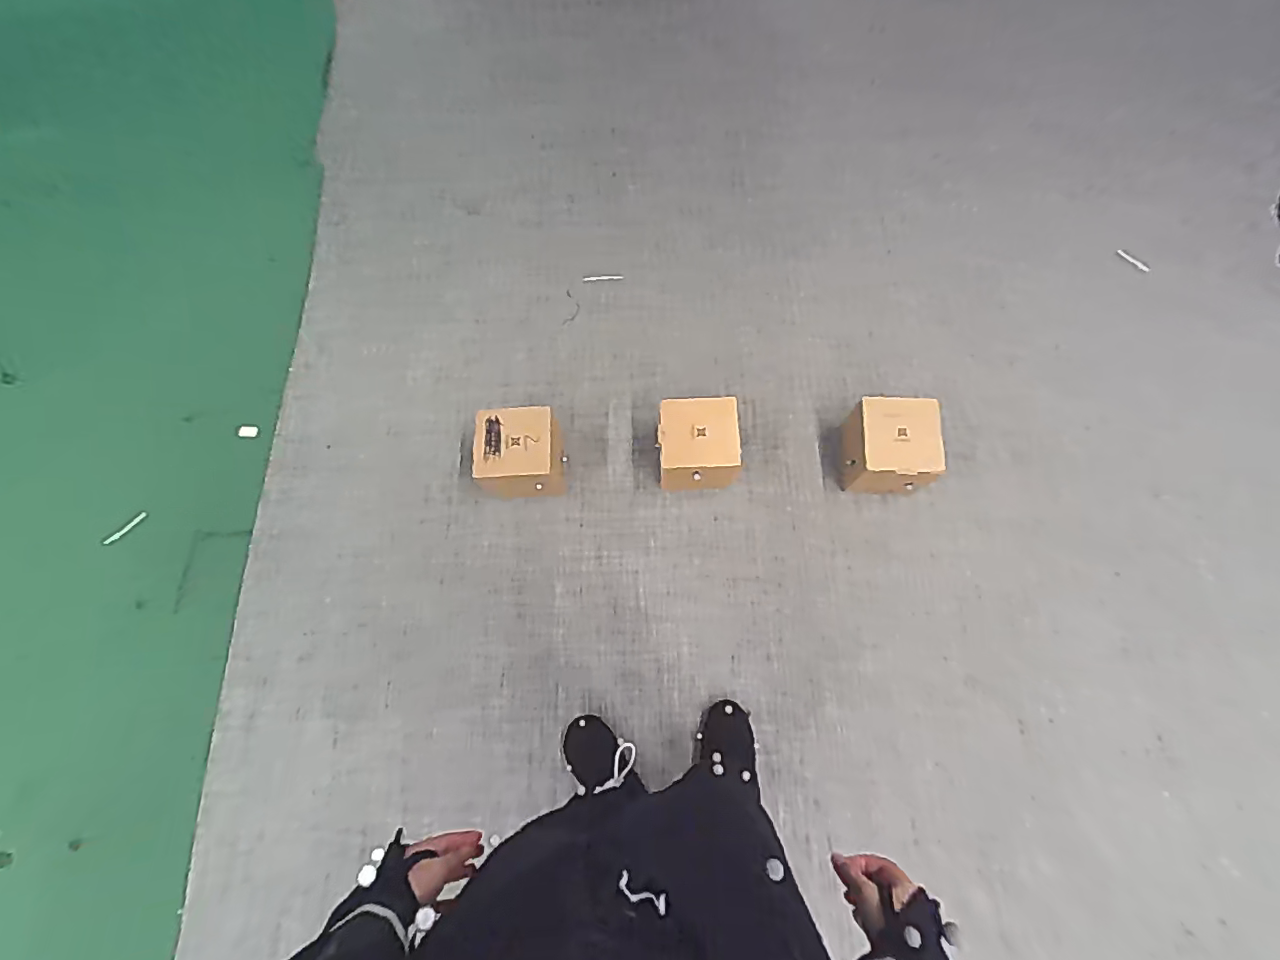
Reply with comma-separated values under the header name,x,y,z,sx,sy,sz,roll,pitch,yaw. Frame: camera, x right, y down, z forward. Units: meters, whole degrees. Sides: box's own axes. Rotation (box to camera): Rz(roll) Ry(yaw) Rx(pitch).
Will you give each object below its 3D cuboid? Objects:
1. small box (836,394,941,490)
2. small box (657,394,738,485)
name,x,y,z,sx,sy,sz,roll,pitch,yaw
small box,0.558,-0.081,1.238,0.168,0.176,0.179,2,72,2
small box,0.128,-0.089,1.263,0.179,0.176,0.168,-2,73,3
